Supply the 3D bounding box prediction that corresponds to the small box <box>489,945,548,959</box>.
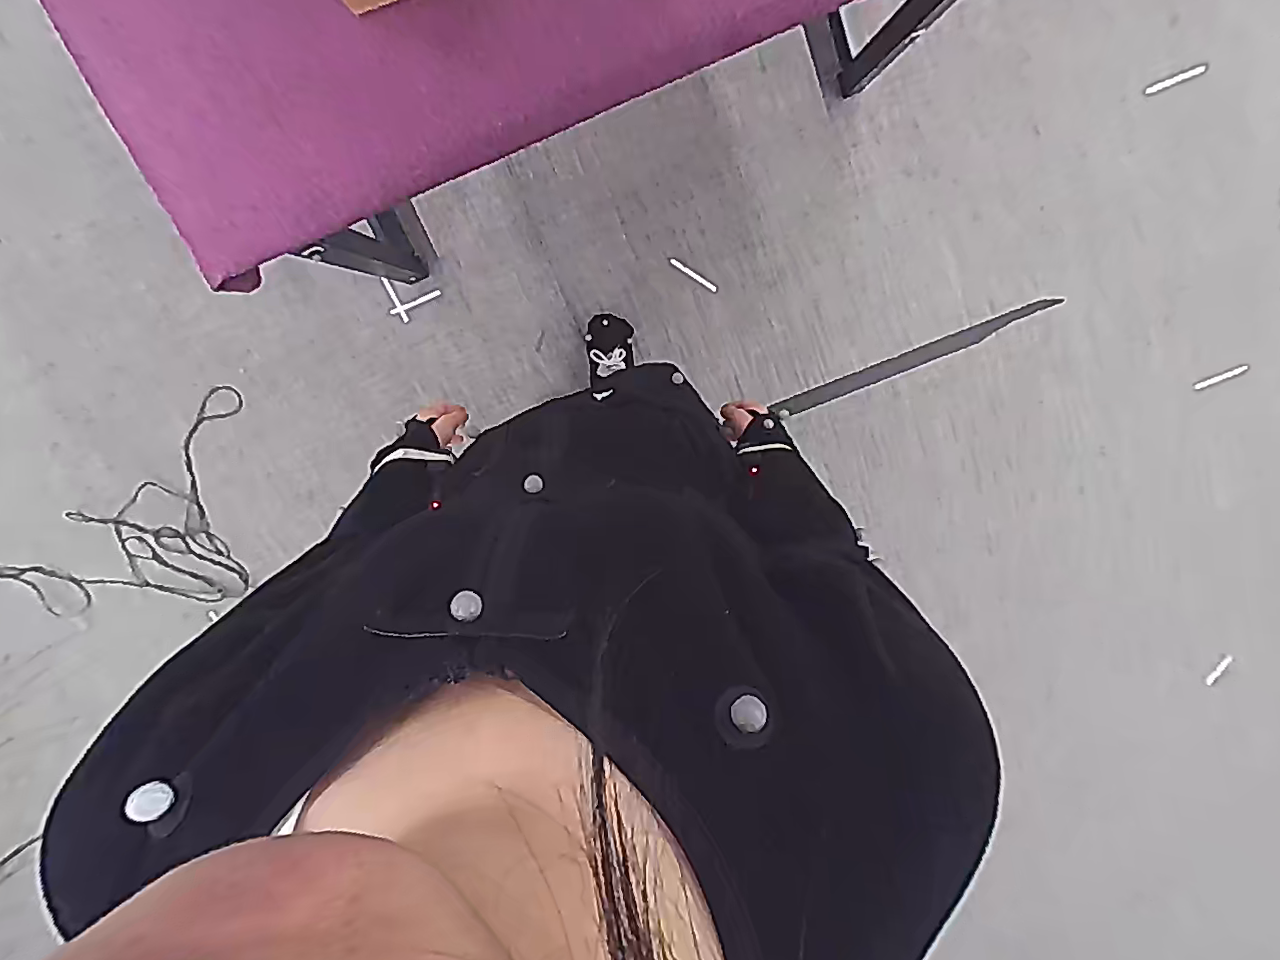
[{"bbox_3d":[-0.346,1.411,1.455,0.179,0.176,0.168,26,100,-9],"label":"small box"}]
